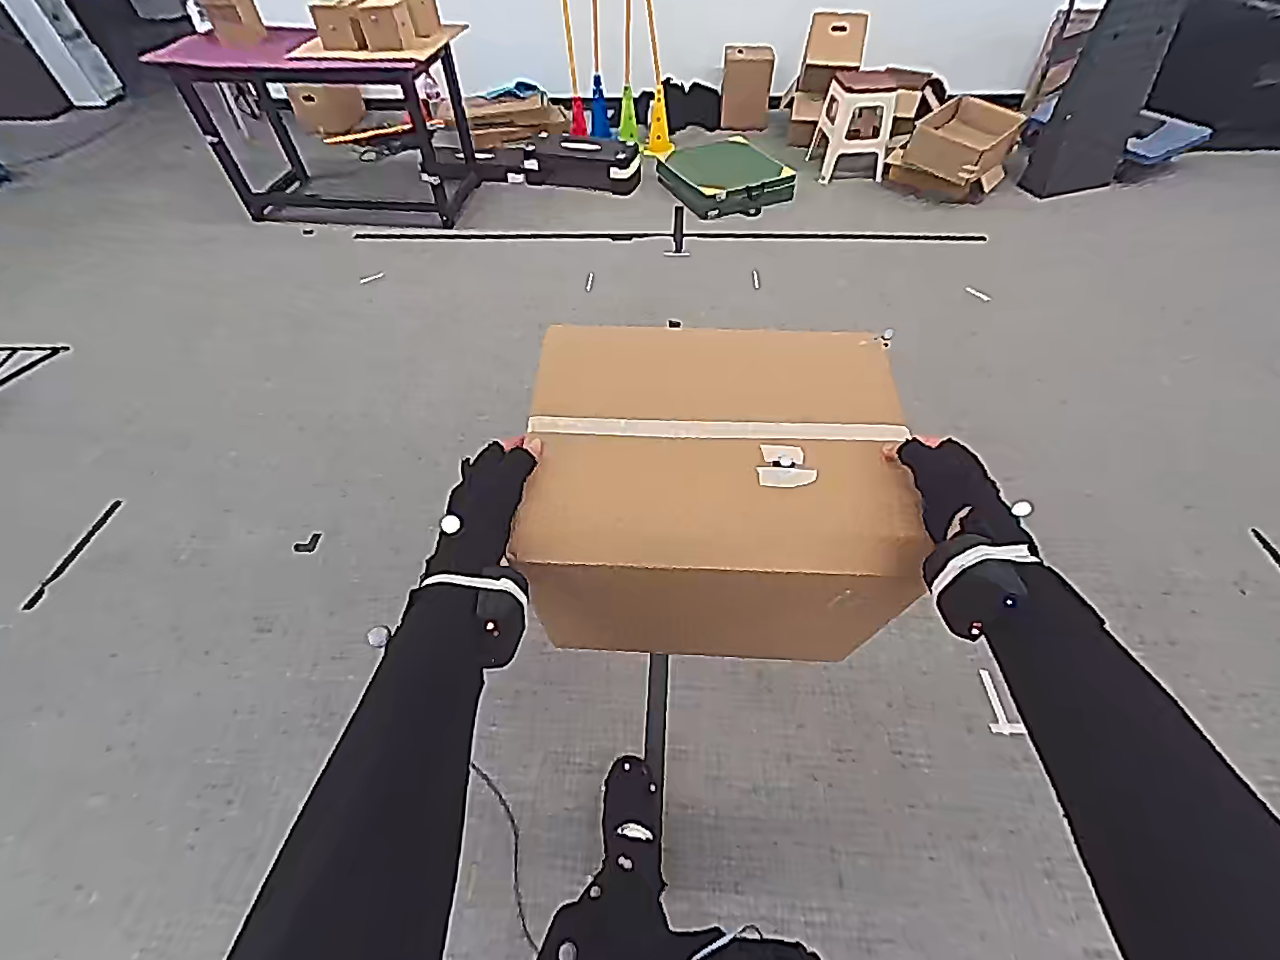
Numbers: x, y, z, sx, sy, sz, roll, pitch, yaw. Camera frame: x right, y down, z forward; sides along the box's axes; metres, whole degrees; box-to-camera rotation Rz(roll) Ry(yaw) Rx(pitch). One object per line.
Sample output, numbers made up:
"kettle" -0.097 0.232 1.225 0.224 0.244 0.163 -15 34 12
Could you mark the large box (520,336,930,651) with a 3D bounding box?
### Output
"large box" 0.084 0.031 0.721 0.408 0.320 0.320 2 59 2
